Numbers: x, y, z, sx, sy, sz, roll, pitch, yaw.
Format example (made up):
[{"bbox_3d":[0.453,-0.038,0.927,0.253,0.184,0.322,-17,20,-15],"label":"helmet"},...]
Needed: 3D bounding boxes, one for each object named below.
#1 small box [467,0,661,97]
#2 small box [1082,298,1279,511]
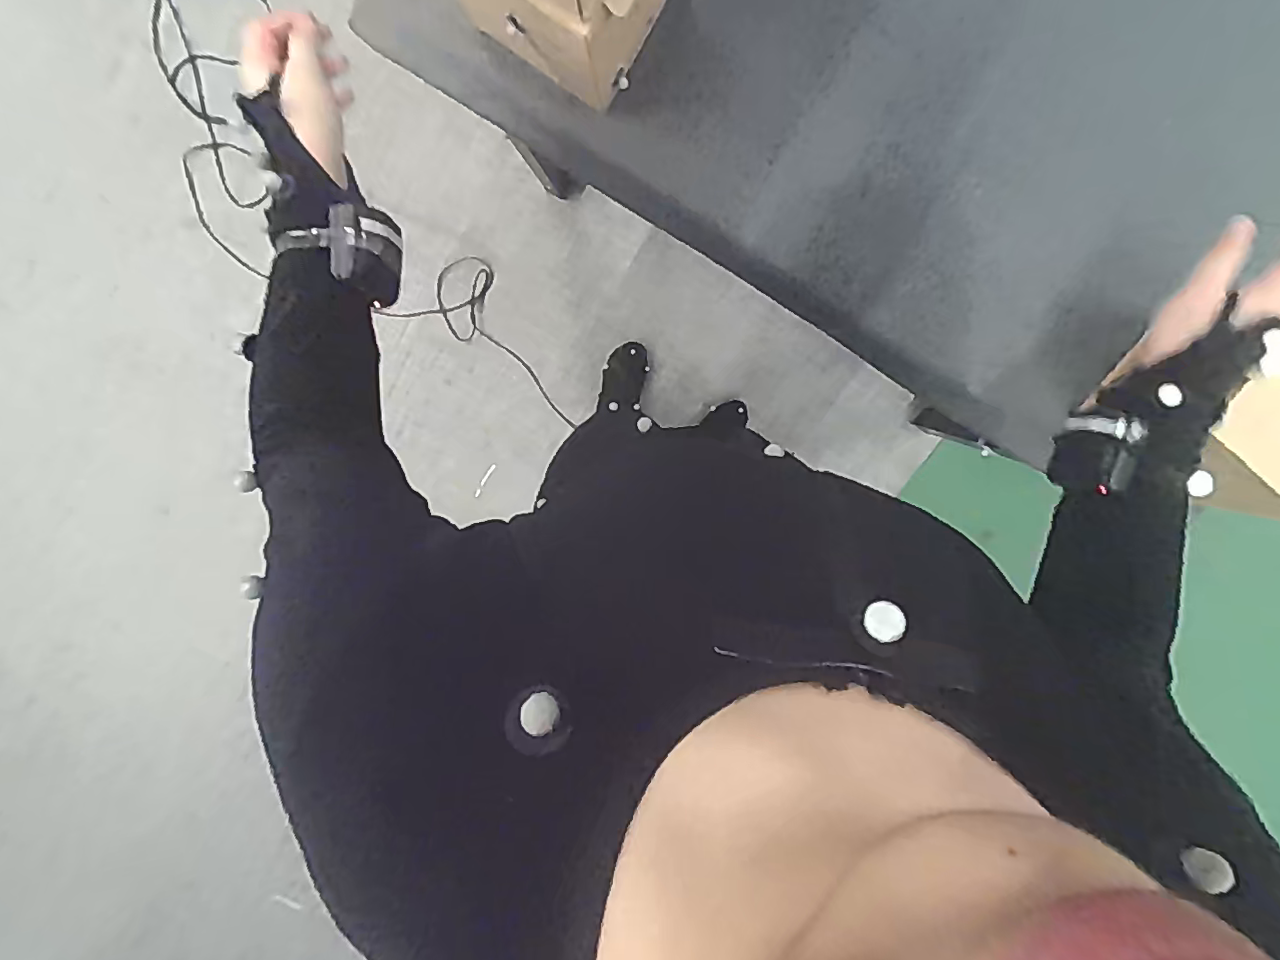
[{"bbox_3d":[-0.075,-0.528,0.538,0.179,0.176,0.168,32,103,-5],"label":"small box"},{"bbox_3d":[0.675,-0.081,0.616,0.179,0.176,0.168,37,98,-6],"label":"small box"}]
